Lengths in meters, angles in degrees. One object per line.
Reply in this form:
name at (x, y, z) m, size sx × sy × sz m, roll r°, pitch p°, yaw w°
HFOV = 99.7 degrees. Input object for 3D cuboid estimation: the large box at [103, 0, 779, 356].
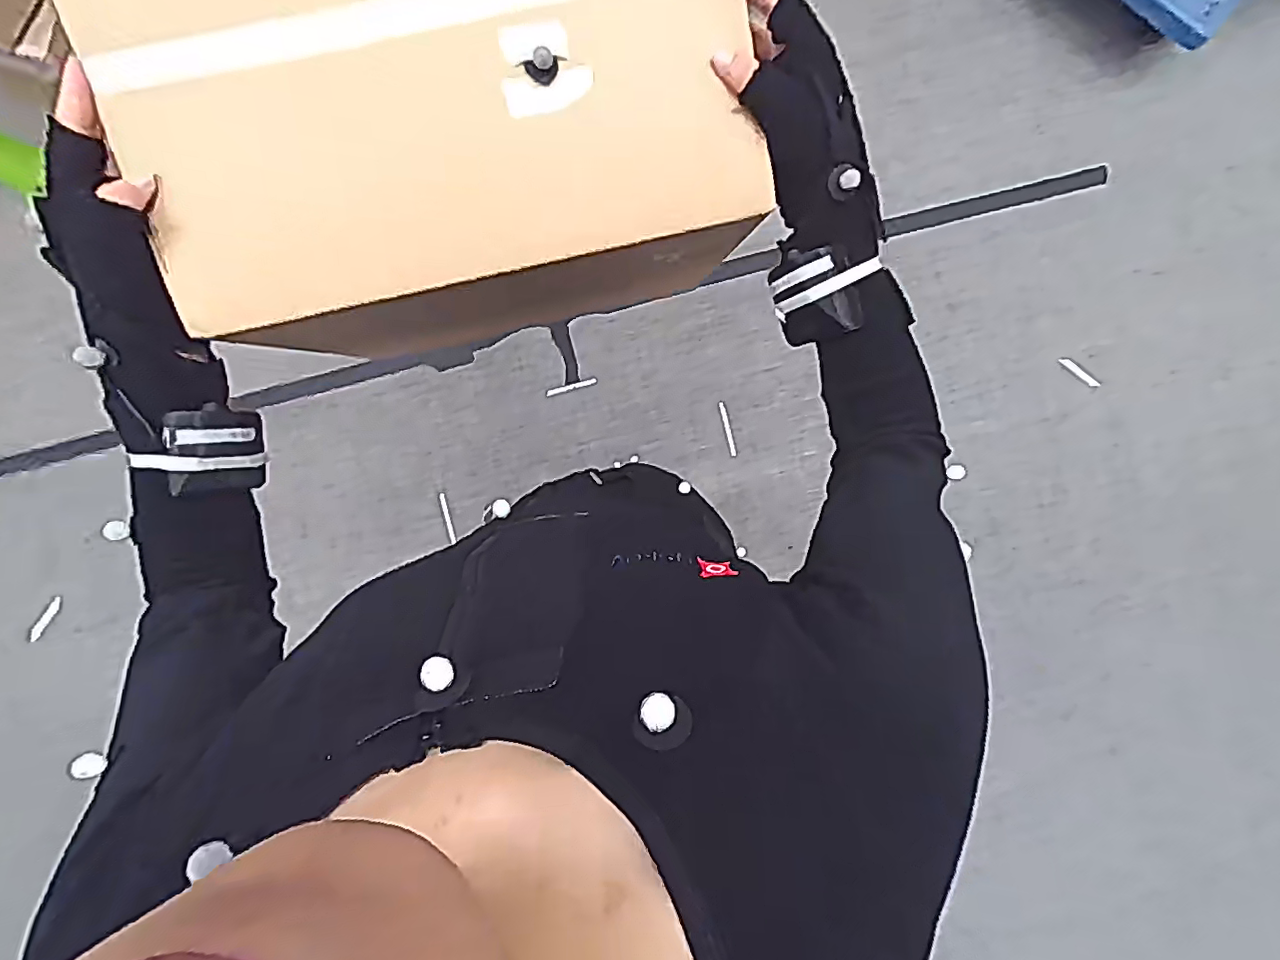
large box at (-0.141, -0.318, 0.493) m, size 0.408 × 0.320 × 0.320 m, roll -14°, pitch 101°, yaw -3°
